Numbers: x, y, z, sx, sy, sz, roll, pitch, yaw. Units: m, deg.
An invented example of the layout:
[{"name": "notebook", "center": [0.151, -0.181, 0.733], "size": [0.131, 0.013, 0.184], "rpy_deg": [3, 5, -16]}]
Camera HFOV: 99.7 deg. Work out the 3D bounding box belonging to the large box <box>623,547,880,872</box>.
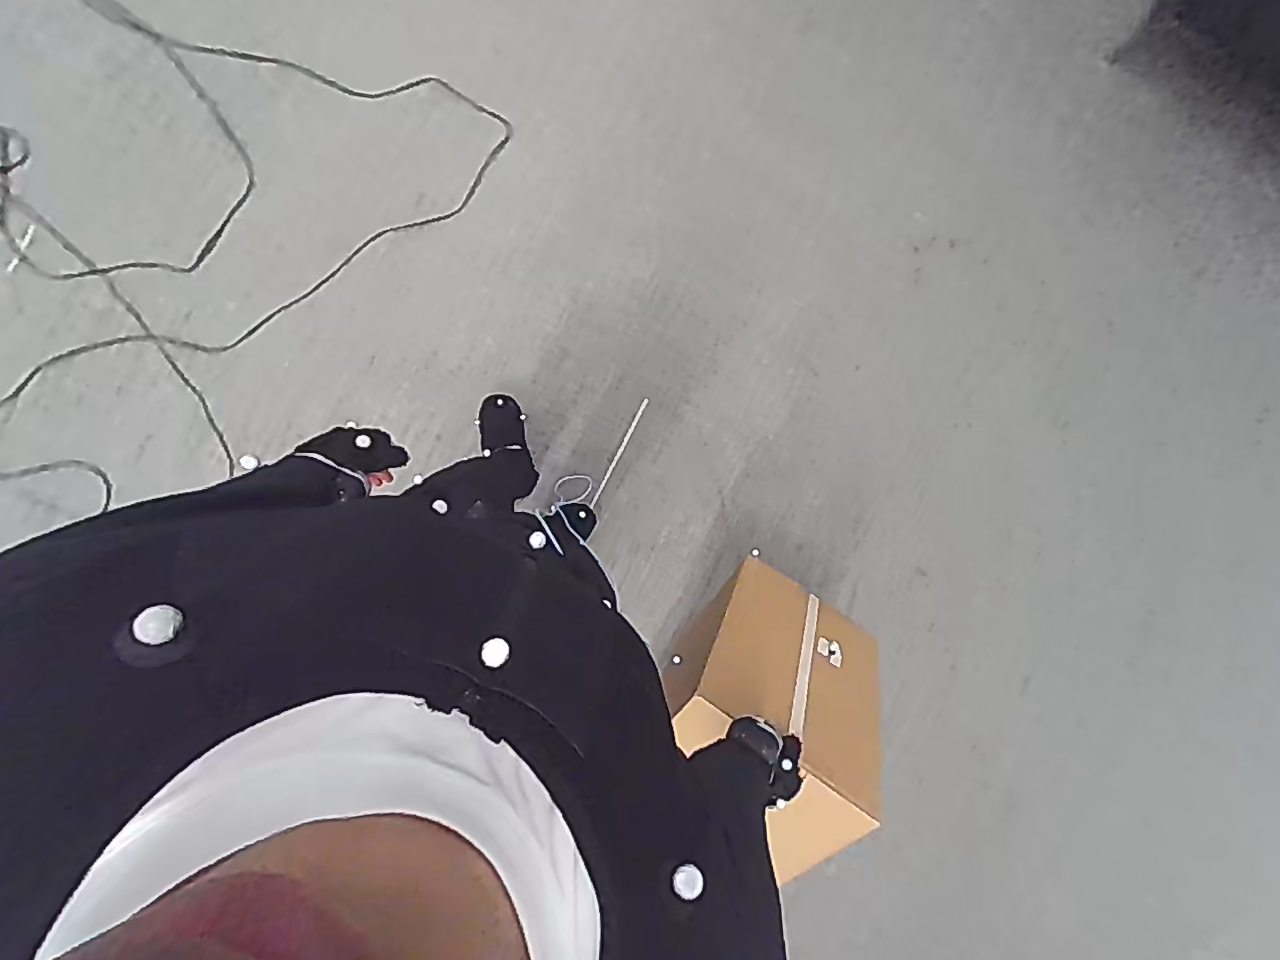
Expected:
[{"name": "large box", "center": [0.218, 0.411, 1.031], "size": [0.320, 0.408, 0.320], "rpy_deg": [34, 121, 4]}]
